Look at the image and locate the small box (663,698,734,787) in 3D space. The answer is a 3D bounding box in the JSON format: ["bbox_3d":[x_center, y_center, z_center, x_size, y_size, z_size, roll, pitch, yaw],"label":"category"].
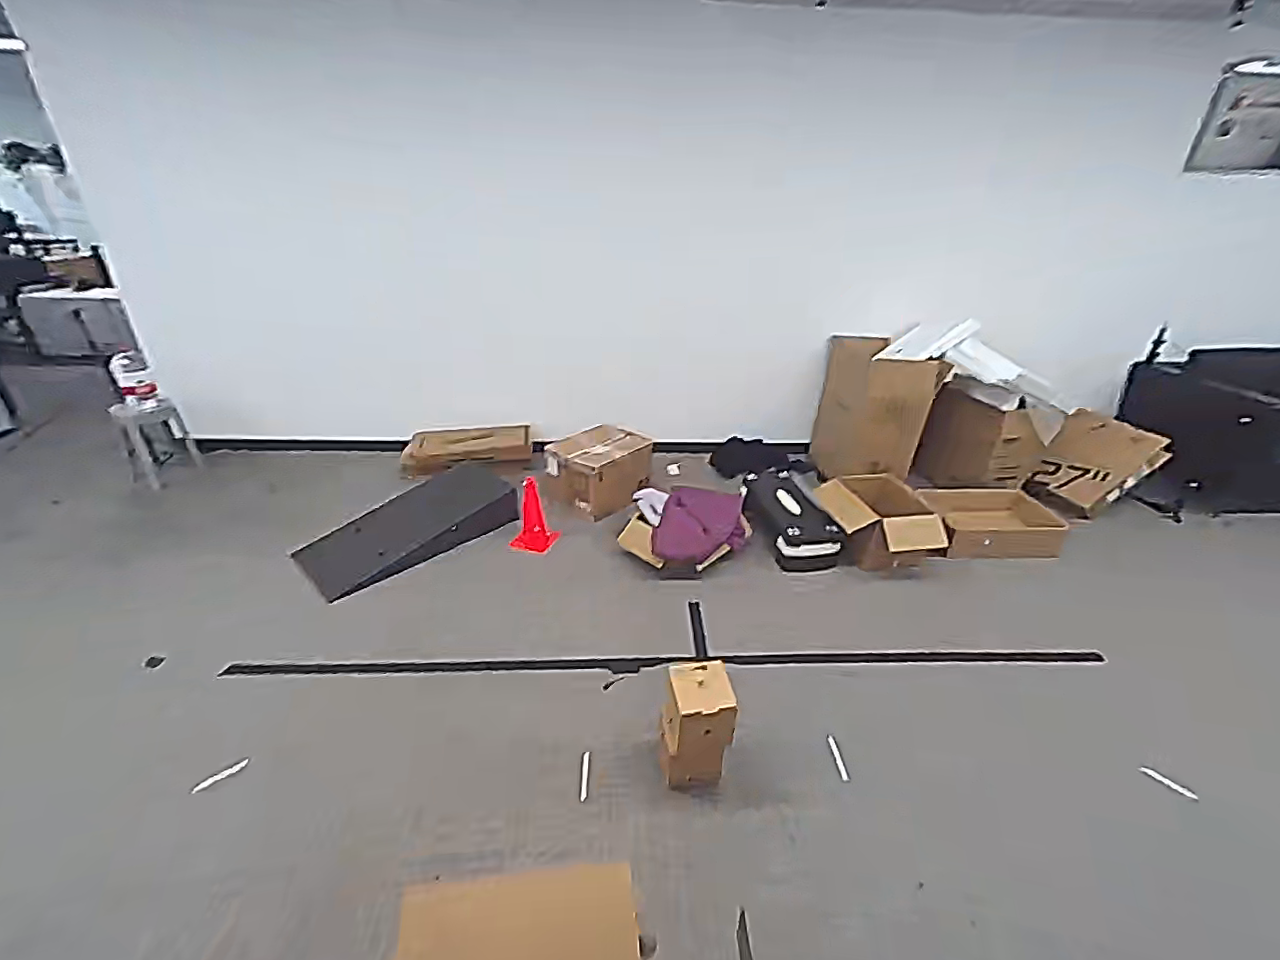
[{"bbox_3d":[0.164,0.762,1.586,0.168,0.176,0.179,-4,29,-8],"label":"small box"}]

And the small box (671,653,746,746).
[{"bbox_3d":[0.185,0.617,1.510,0.168,0.176,0.179,-4,29,-9],"label":"small box"}]
